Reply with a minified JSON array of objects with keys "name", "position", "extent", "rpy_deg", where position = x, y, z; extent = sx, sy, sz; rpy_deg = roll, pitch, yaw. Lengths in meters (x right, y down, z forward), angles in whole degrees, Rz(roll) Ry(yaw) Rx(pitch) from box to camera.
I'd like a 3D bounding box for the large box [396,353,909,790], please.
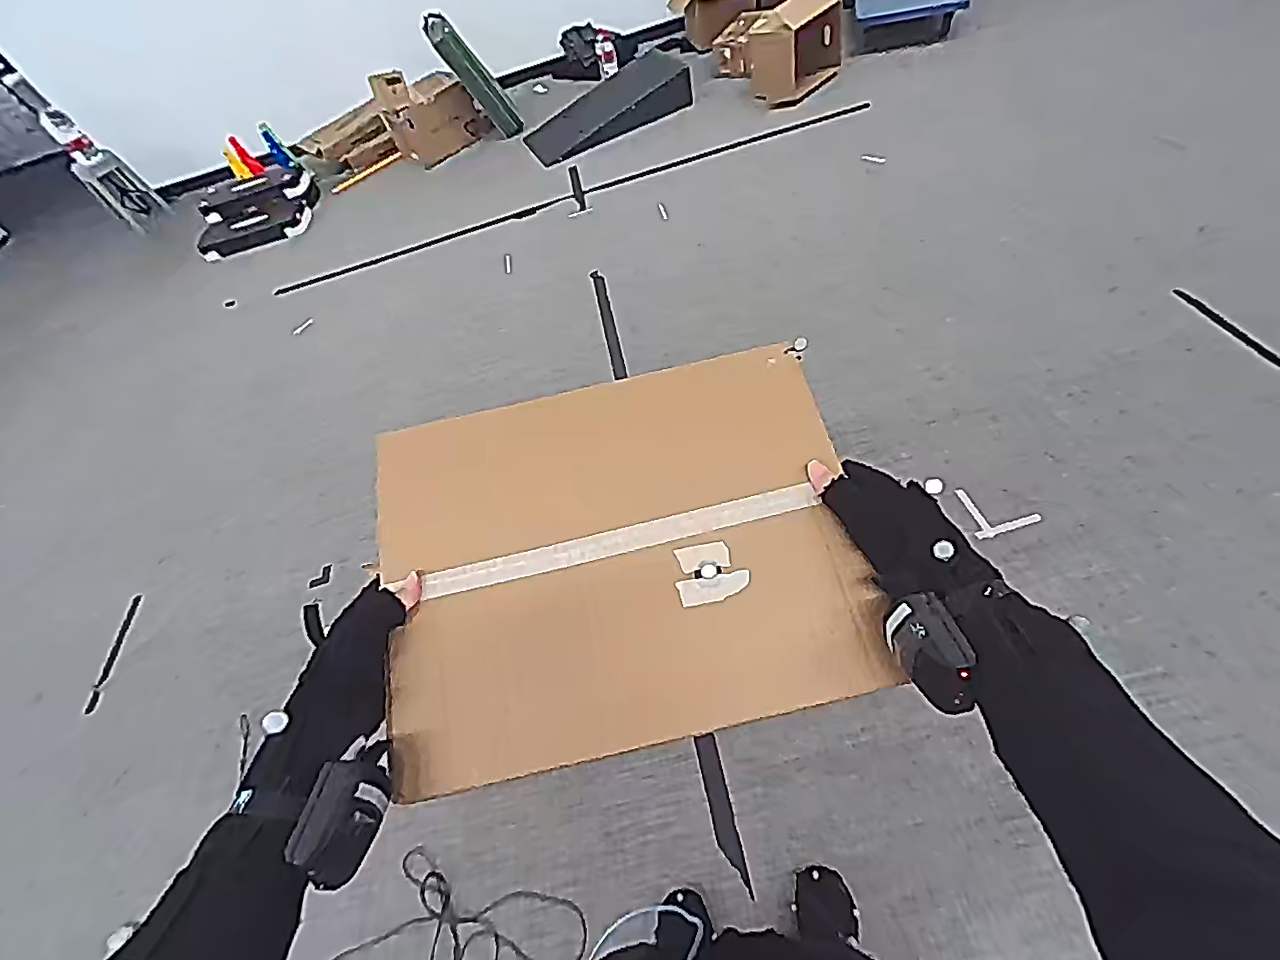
[{"name":"large box","position":[-0.004,0.113,0.610],"extent":[0.408,0.320,0.320],"rpy_deg":[-13,67,-2]}]
